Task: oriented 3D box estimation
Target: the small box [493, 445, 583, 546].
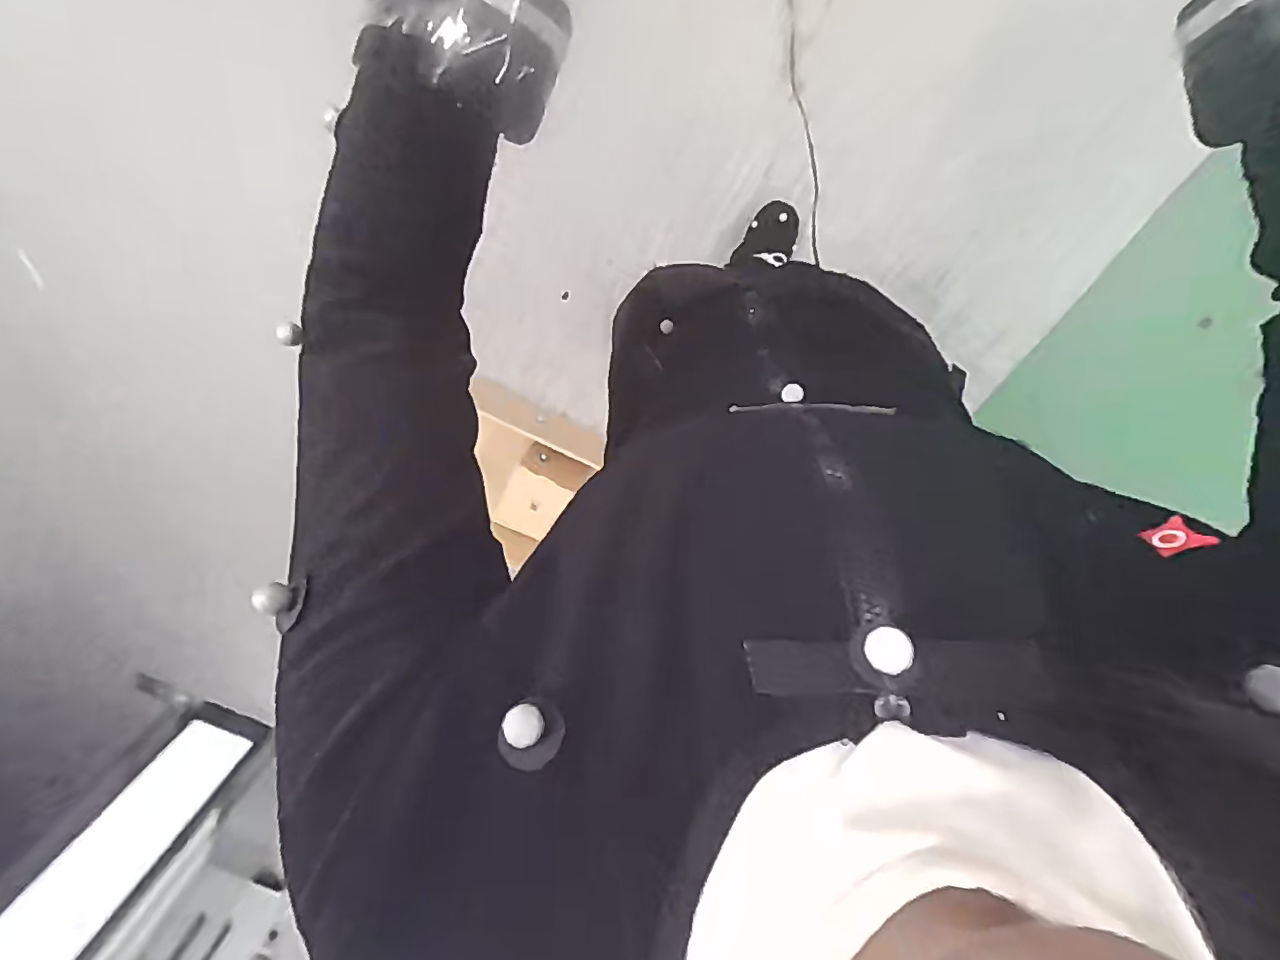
[{"bbox_3d":[-0.262,0.035,1.435,0.168,0.176,0.179,27,118,-6],"label":"small box"}]
